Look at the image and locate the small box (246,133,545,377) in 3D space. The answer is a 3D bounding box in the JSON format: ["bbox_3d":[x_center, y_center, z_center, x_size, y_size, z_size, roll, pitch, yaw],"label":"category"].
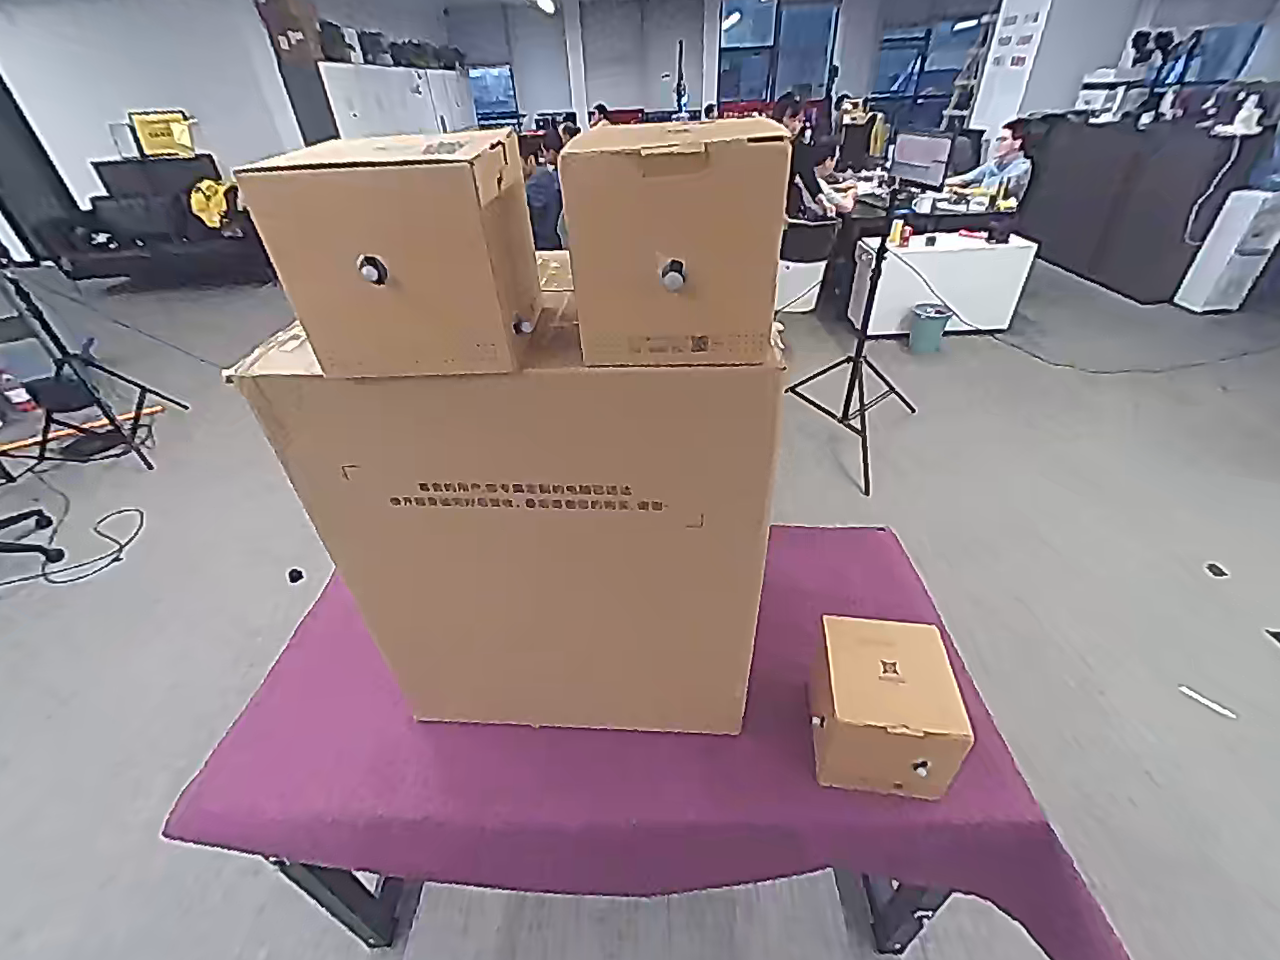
[{"bbox_3d":[-0.193,-0.206,0.497,0.179,0.176,0.168,-2,37,3],"label":"small box"}]

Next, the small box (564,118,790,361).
[{"bbox_3d":[0.037,-0.219,0.496,0.168,0.176,0.179,1,38,5],"label":"small box"}]

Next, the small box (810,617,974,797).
[{"bbox_3d":[0.349,0.328,0.786,0.168,0.176,0.179,4,35,9],"label":"small box"}]
